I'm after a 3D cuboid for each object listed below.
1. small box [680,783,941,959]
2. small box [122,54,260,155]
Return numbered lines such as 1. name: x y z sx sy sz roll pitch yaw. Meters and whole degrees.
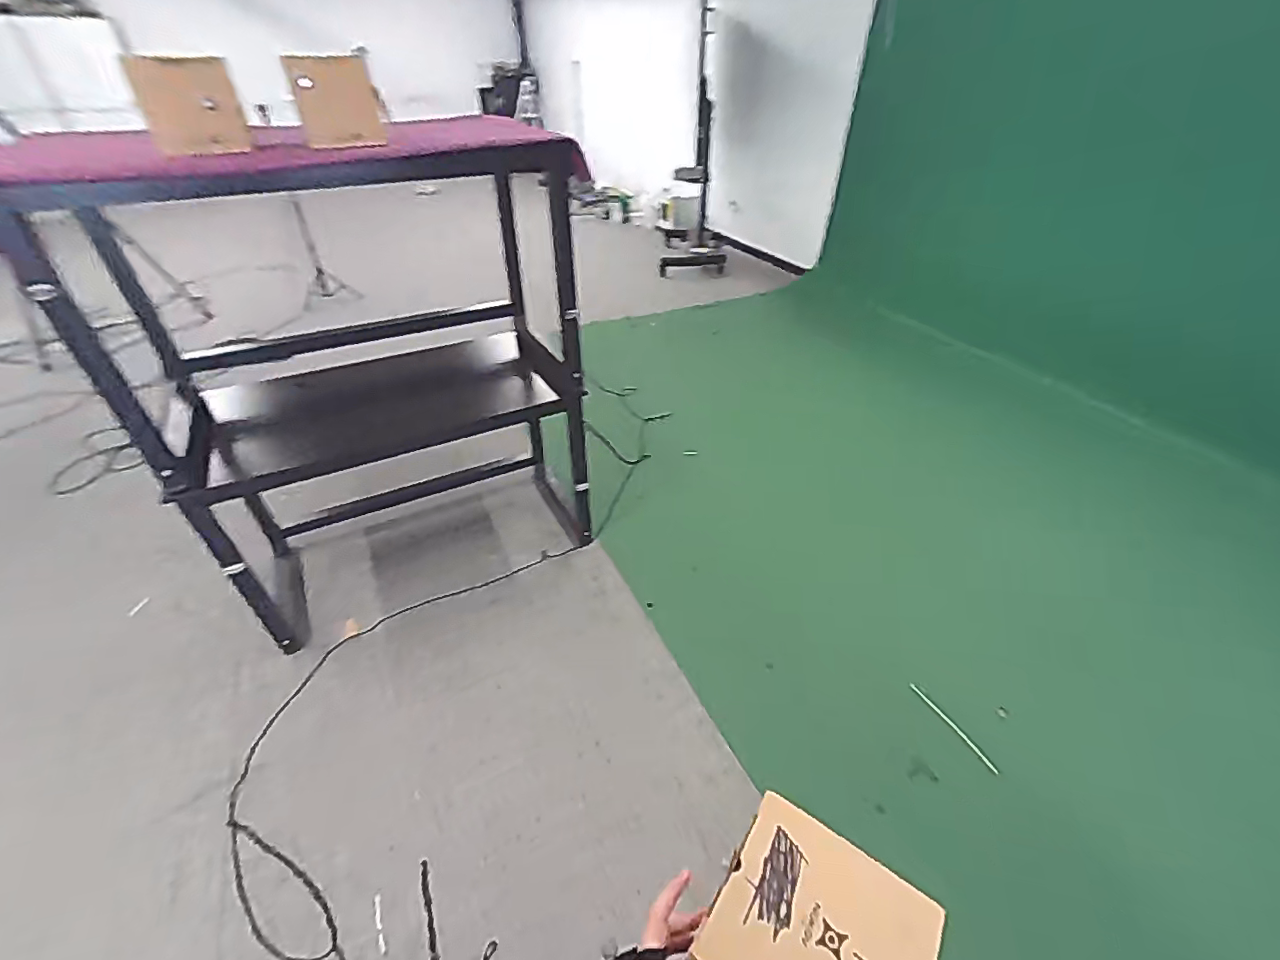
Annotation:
1. small box: 0.147 0.443 0.510 0.179 0.176 0.168 25 40 24
2. small box: -0.933 -0.793 1.144 0.168 0.176 0.179 -16 40 -21
